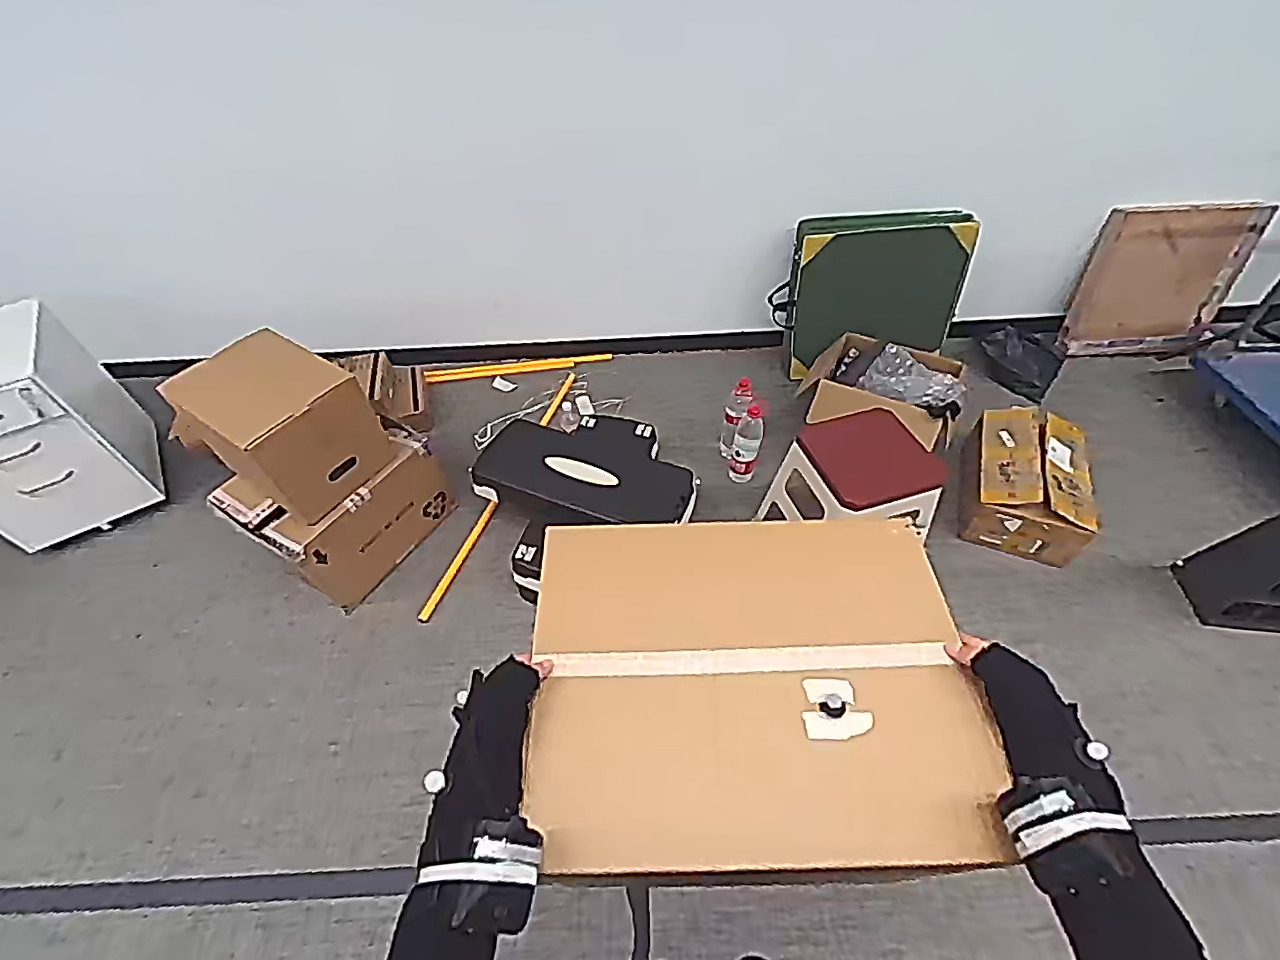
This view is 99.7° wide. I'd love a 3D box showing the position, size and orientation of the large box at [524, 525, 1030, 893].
[{"bbox_3d":[0.103,0.269,0.624,0.408,0.320,0.320,-1,51,0],"label":"large box"}]
